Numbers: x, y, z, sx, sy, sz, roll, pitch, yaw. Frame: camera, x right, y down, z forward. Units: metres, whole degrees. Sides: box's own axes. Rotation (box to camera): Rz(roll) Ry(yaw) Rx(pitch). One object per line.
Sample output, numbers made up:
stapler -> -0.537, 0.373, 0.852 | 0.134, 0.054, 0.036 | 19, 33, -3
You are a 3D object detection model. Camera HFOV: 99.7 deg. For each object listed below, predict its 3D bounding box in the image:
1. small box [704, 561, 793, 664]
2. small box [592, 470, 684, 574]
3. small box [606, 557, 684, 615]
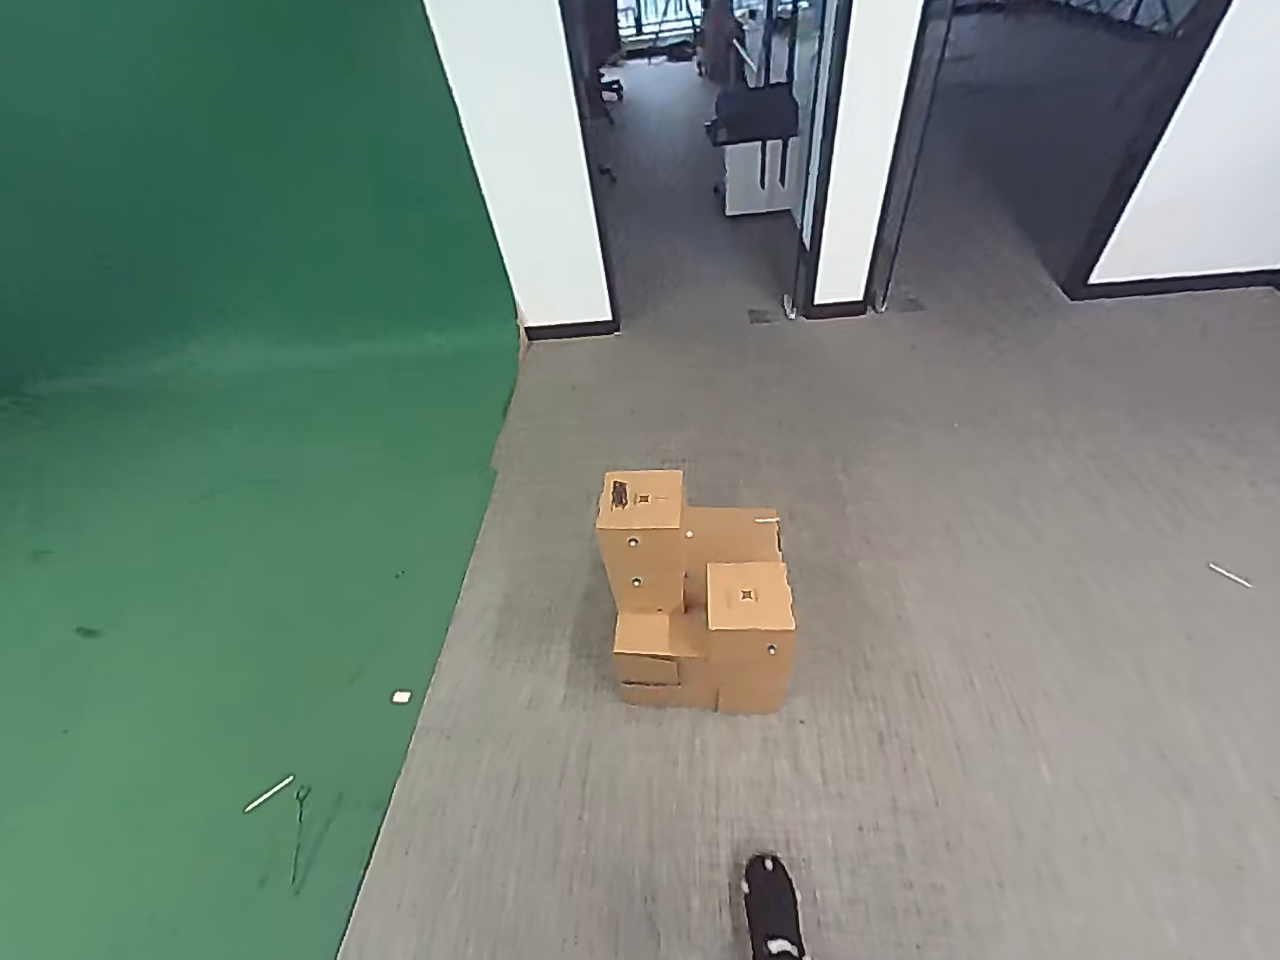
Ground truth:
small box -> 0.233, 0.295, 1.199 | 0.179, 0.176, 0.168 | -2, 46, 7
small box -> 0.003, 0.095, 1.197 | 0.179, 0.176, 0.168 | -1, 46, 8
small box -> 0.019, 0.207, 1.318 | 0.168, 0.176, 0.179 | -1, 45, 9
